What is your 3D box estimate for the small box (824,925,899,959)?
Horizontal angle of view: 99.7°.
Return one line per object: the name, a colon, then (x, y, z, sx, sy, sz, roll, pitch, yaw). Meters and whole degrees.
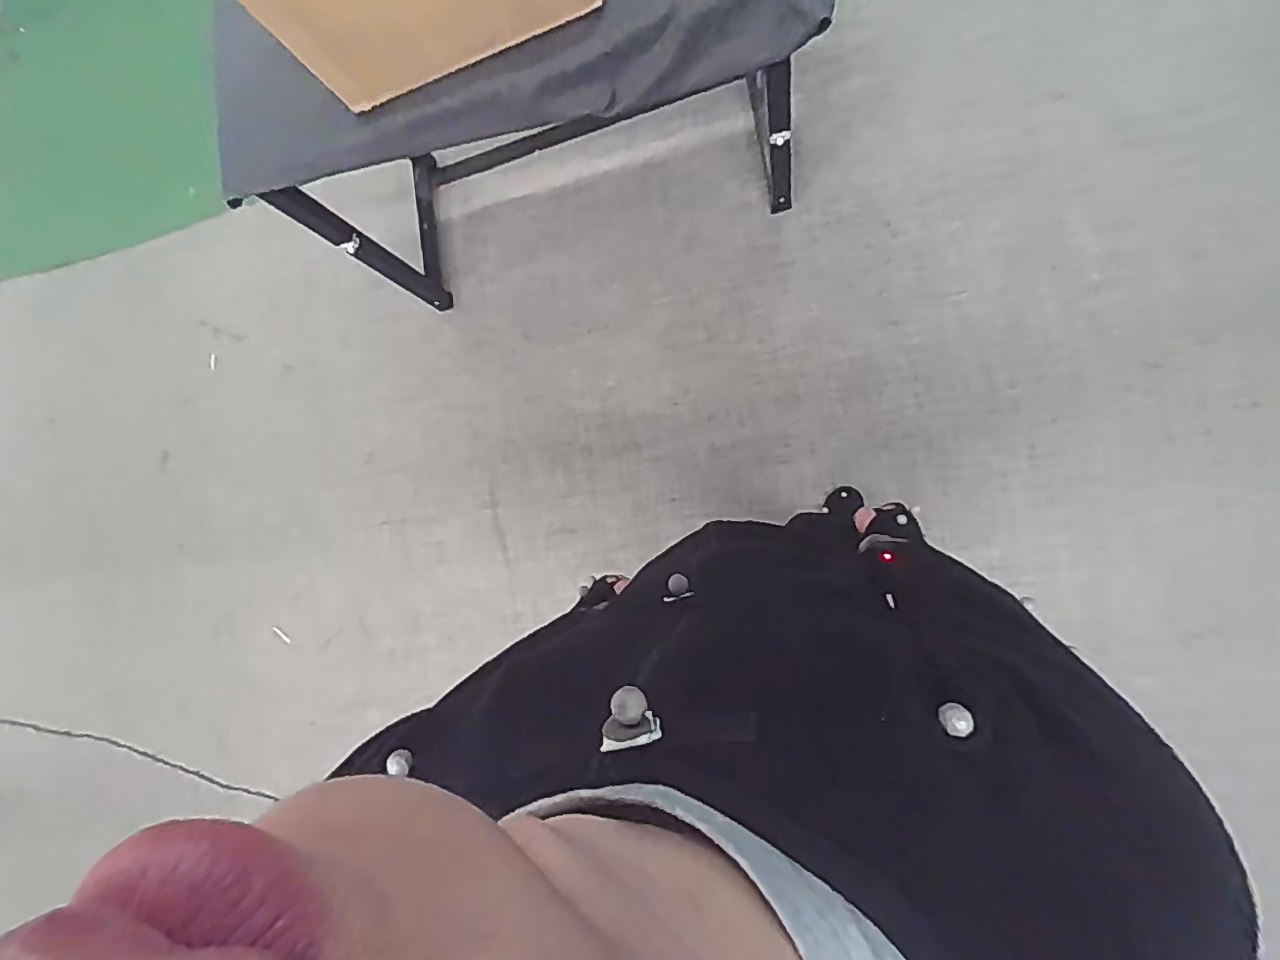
small box: (0.544, 1.209, 1.280, 0.168, 0.176, 0.179, -15, 81, 12)
